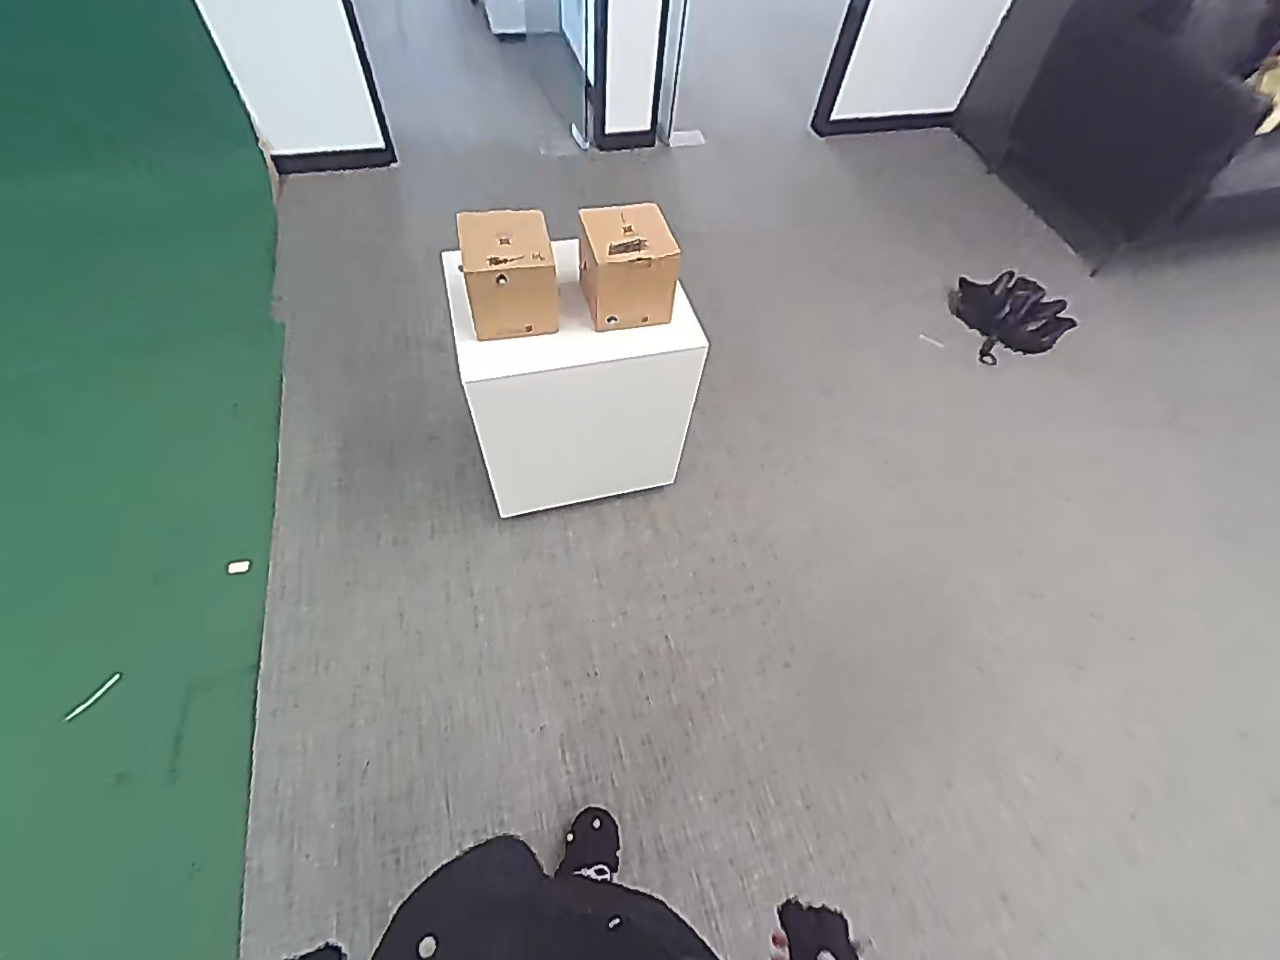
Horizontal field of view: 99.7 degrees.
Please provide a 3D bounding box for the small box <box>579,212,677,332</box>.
[{"bbox_3d":[-0.029,-0.427,1.130,0.168,0.176,0.179,-11,58,-11],"label":"small box"}]

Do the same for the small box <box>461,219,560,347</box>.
[{"bbox_3d":[-0.258,-0.395,1.089,0.168,0.176,0.179,-10,58,-10],"label":"small box"}]
